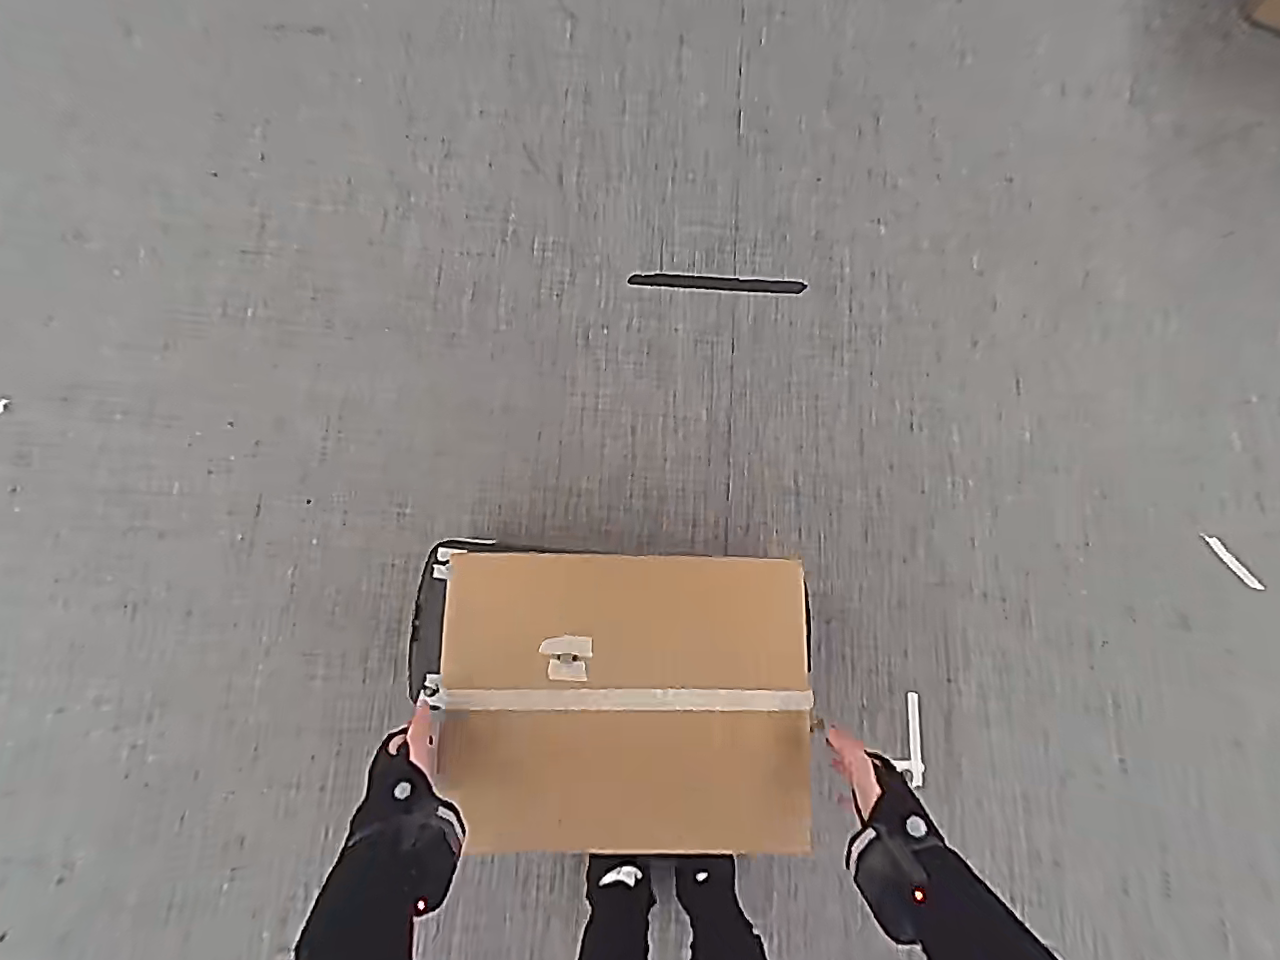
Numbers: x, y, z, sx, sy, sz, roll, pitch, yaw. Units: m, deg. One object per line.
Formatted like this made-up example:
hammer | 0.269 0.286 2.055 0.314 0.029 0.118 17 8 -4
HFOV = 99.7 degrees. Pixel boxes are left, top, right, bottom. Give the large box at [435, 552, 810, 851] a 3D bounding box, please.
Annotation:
large box | -0.018 0.258 0.736 0.408 0.320 0.320 1 81 -1
